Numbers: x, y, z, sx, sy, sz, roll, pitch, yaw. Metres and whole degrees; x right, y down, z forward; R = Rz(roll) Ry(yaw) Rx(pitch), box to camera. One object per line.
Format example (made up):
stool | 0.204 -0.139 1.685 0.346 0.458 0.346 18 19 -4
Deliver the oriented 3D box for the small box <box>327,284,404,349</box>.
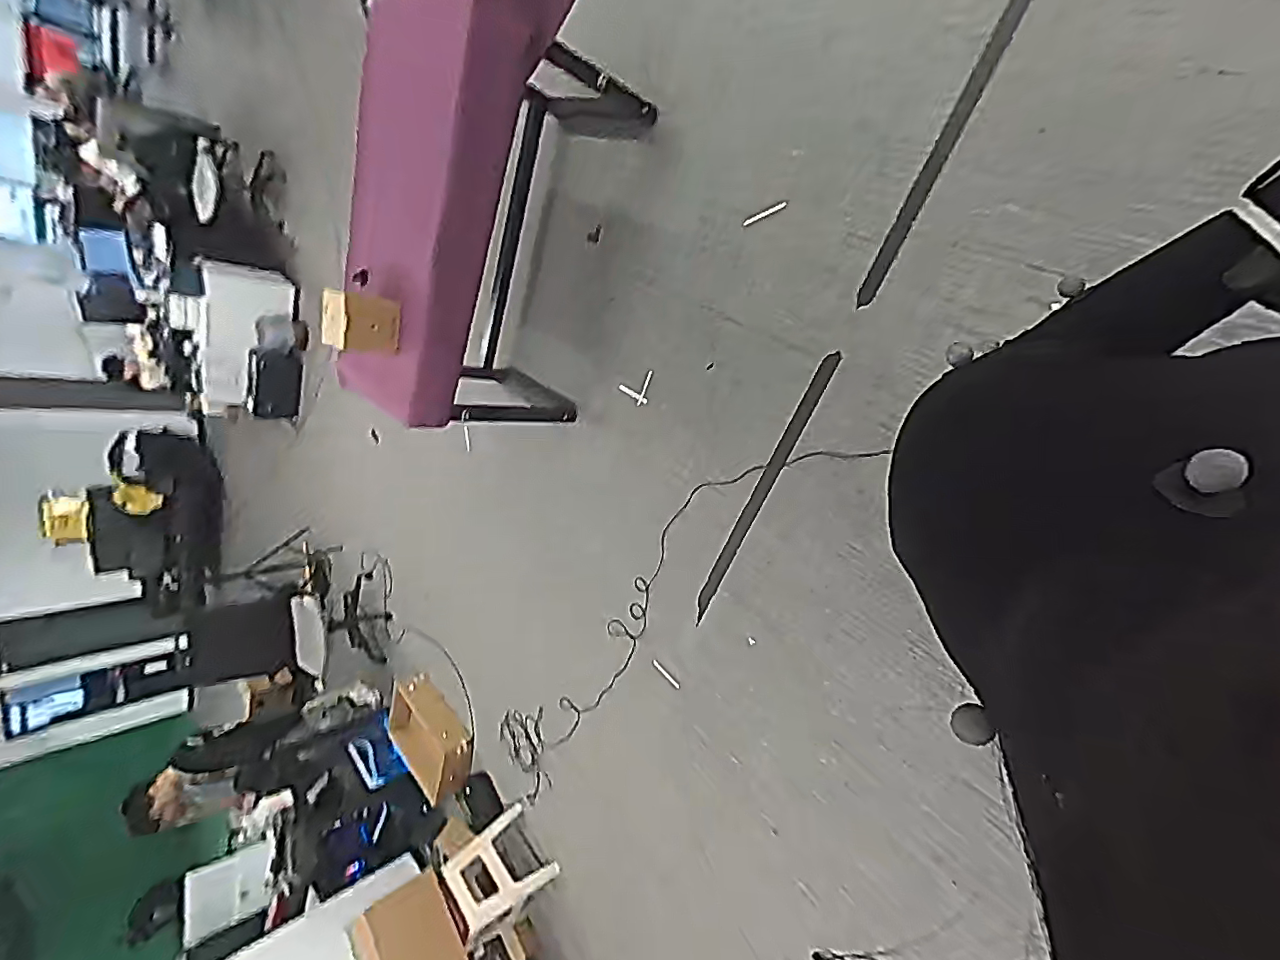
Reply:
small box | -0.869 -0.515 1.714 0.179 0.176 0.168 24 110 37
